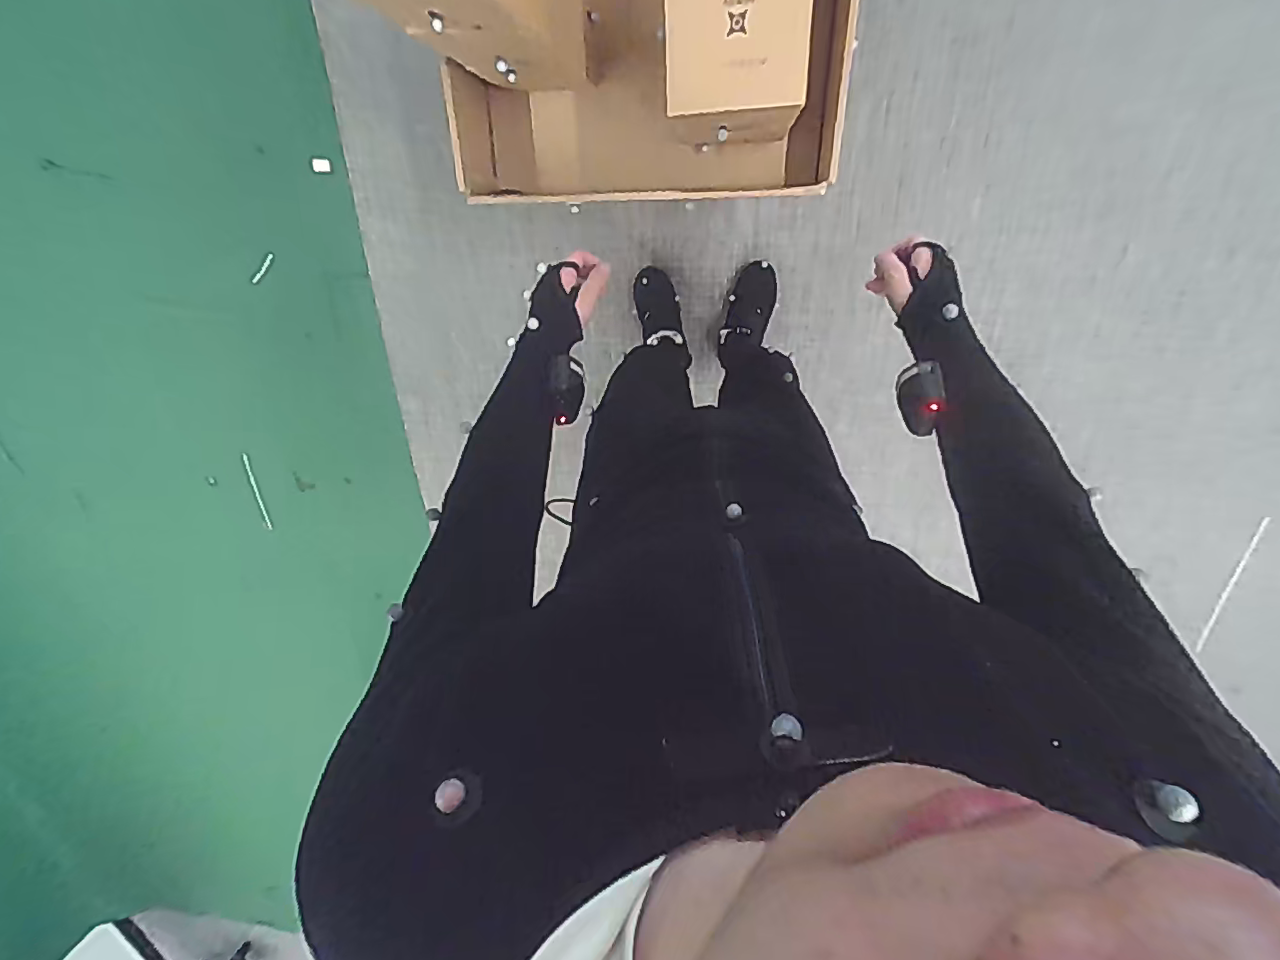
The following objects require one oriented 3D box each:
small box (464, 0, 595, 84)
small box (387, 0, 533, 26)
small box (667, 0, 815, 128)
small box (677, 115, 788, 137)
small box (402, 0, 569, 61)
[{"bbox_3d":[-0.167,-0.731,0.826,0.168,0.176,0.179,4,116,7],"label":"small box"},{"bbox_3d":[-0.210,-0.589,0.535,0.168,0.176,0.179,8,118,6],"label":"small box"},{"bbox_3d":[0.123,-0.559,0.675,0.168,0.176,0.179,2,116,9],"label":"small box"},{"bbox_3d":[0.148,-0.632,0.820,0.168,0.176,0.179,2,115,8],"label":"small box"},{"bbox_3d":[-0.189,-0.659,0.680,0.168,0.176,0.179,7,117,7],"label":"small box"}]
